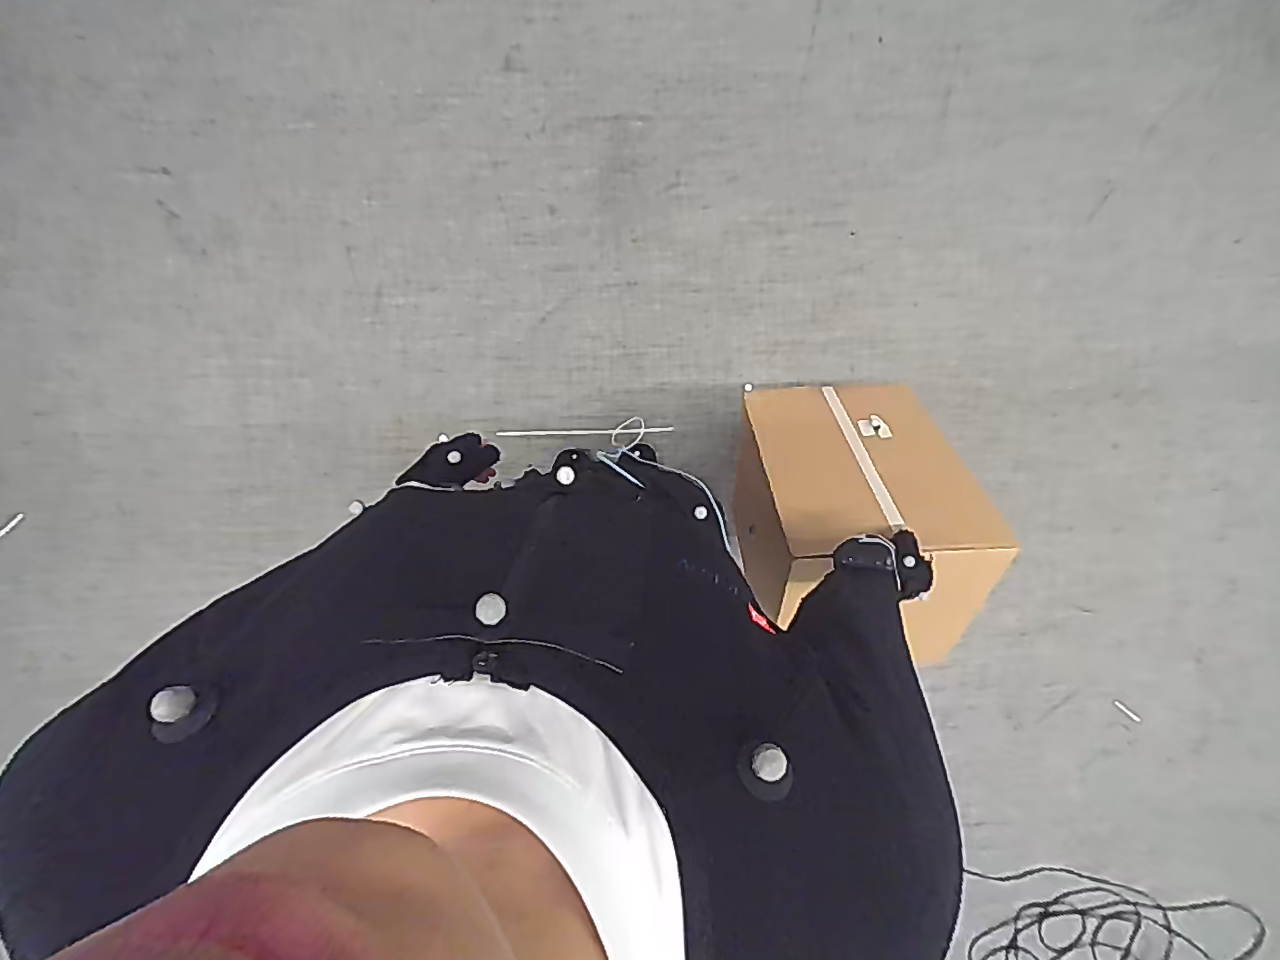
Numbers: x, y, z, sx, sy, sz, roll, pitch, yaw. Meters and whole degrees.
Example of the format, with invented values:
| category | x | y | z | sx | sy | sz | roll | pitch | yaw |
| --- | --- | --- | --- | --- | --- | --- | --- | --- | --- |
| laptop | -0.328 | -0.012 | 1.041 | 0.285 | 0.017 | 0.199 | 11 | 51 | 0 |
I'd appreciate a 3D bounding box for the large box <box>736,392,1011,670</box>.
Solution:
| category | x | y | z | sx | sy | sz | roll | pitch | yaw |
| --- | --- | --- | --- | --- | --- | --- | --- | --- | --- |
| large box | 0.367 | 0.084 | 0.994 | 0.320 | 0.408 | 0.320 | -3 | 132 | 0 |
